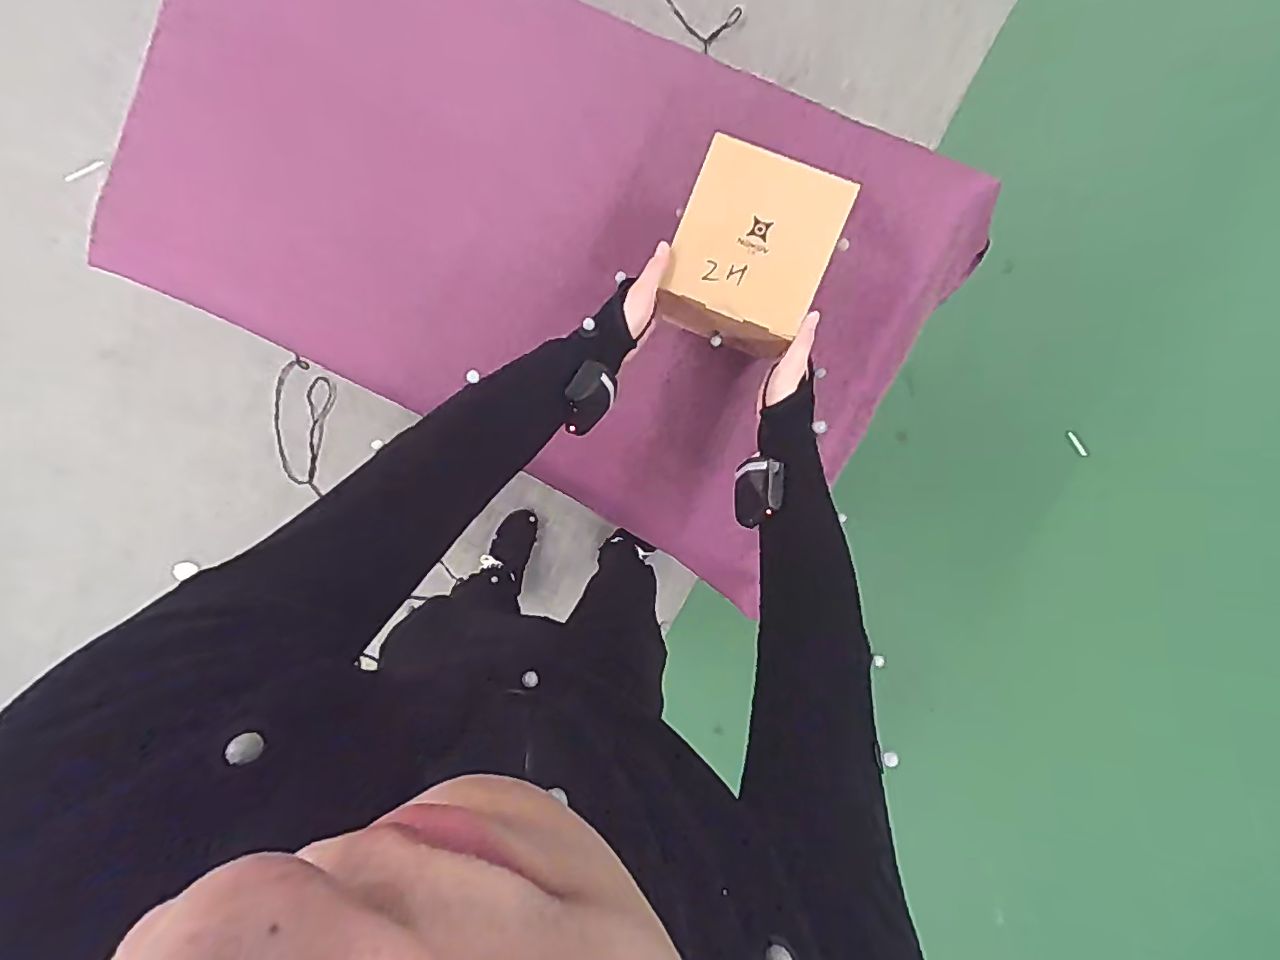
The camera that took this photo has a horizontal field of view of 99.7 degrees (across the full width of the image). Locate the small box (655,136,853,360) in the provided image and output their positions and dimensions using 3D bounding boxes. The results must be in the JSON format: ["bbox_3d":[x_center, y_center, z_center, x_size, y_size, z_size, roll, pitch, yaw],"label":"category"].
[{"bbox_3d":[0.127,-0.266,0.663,0.168,0.176,0.179,23,96,3],"label":"small box"}]
